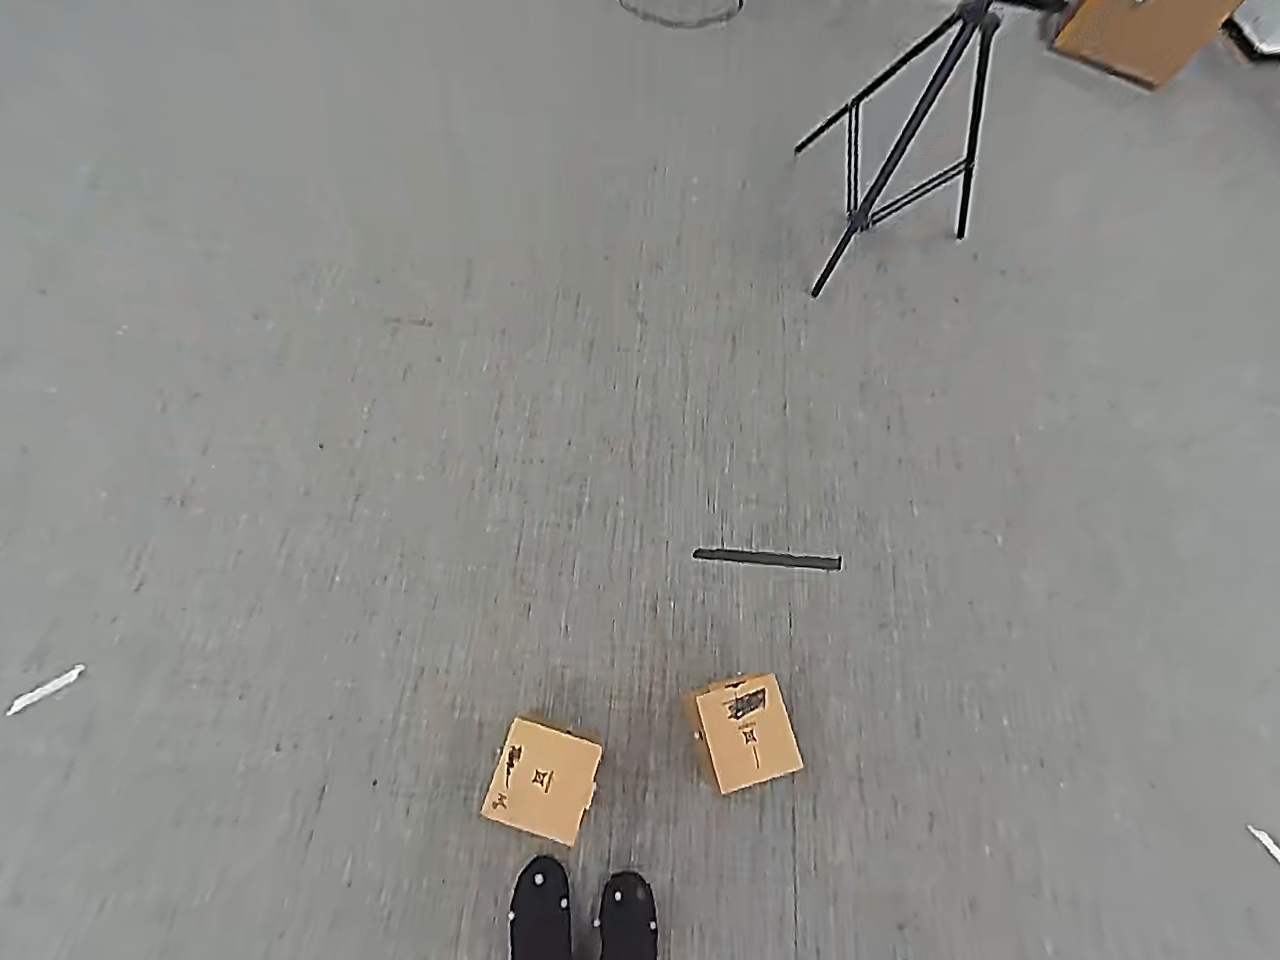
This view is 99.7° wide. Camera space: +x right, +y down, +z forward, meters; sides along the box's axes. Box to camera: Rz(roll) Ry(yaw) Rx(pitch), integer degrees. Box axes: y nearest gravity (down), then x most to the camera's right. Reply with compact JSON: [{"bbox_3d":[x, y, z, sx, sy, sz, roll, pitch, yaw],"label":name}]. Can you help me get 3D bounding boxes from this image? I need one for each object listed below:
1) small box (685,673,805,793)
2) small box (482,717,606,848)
[{"bbox_3d":[0.198,0.499,1.084,0.168,0.176,0.179,-12,71,-9],"label":"small box"},{"bbox_3d":[-0.174,0.561,1.029,0.179,0.176,0.168,18,68,2],"label":"small box"}]
